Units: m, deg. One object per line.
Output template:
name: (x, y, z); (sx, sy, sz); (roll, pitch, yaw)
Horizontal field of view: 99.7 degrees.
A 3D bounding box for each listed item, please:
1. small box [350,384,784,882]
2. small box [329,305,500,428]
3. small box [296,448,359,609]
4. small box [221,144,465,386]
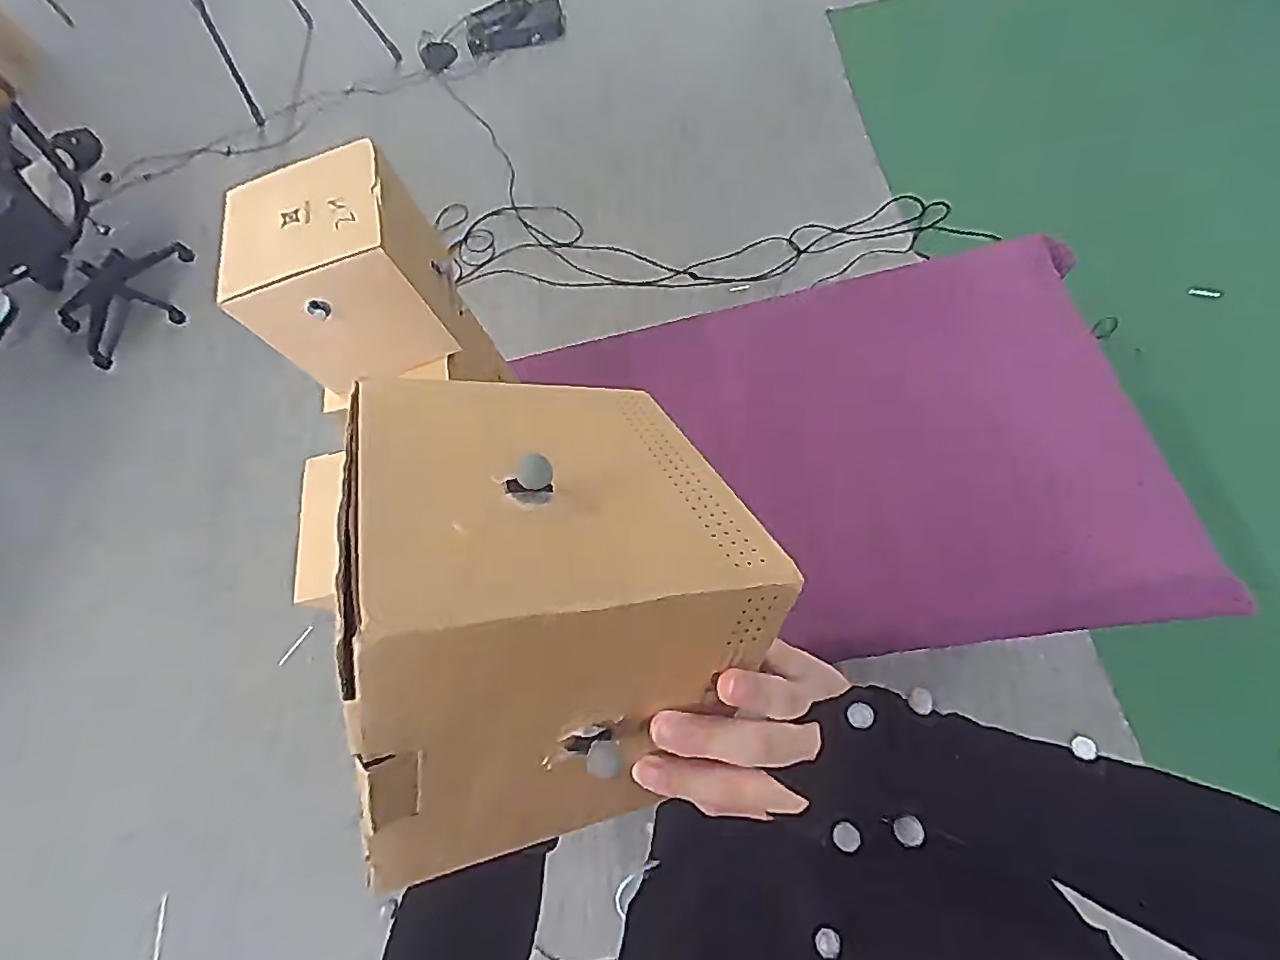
small box: (-0.054, 0.059, 0.292); (0.176, 0.168, 0.179); (-2, 35, -27)
small box: (-0.305, -0.145, 0.762); (0.168, 0.176, 0.179); (-14, 66, 5)
small box: (-0.285, 0.063, 0.671); (0.168, 0.176, 0.179); (-14, 66, 5)
small box: (-0.326, -0.232, 0.622); (0.179, 0.176, 0.168); (-17, 66, 3)
